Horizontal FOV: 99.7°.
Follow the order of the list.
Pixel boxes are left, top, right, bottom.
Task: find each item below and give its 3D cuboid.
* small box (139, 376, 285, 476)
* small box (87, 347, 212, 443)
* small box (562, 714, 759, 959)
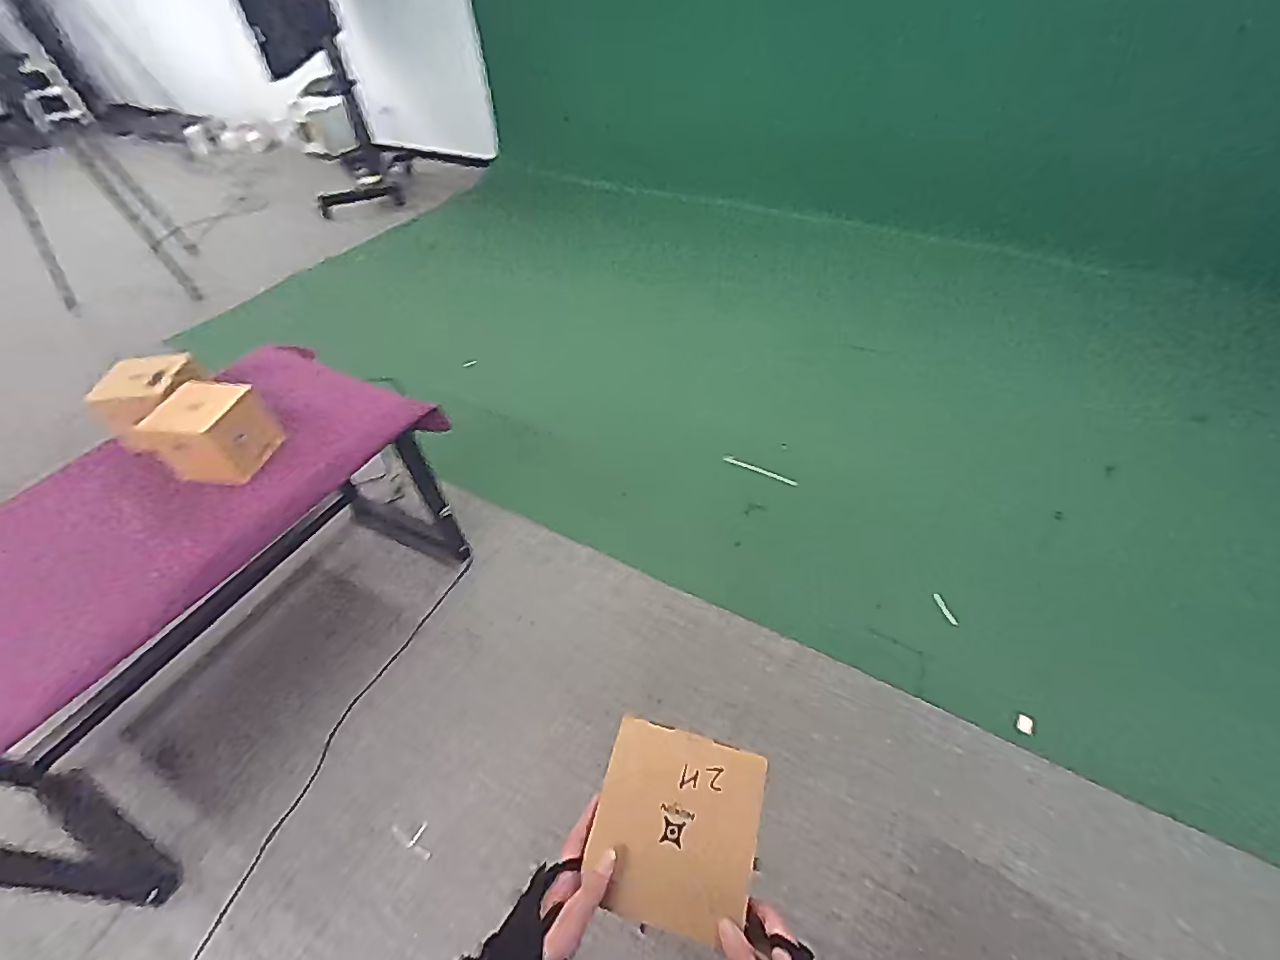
[{"bbox_3d":[-0.991,-0.124,1.275,0.179,0.176,0.168,5,49,8],"label":"small box"},{"bbox_3d":[-1.193,-0.210,1.357,0.179,0.176,0.168,-6,48,-3],"label":"small box"},{"bbox_3d":[0.028,0.392,0.612,0.168,0.176,0.179,13,58,9],"label":"small box"}]
